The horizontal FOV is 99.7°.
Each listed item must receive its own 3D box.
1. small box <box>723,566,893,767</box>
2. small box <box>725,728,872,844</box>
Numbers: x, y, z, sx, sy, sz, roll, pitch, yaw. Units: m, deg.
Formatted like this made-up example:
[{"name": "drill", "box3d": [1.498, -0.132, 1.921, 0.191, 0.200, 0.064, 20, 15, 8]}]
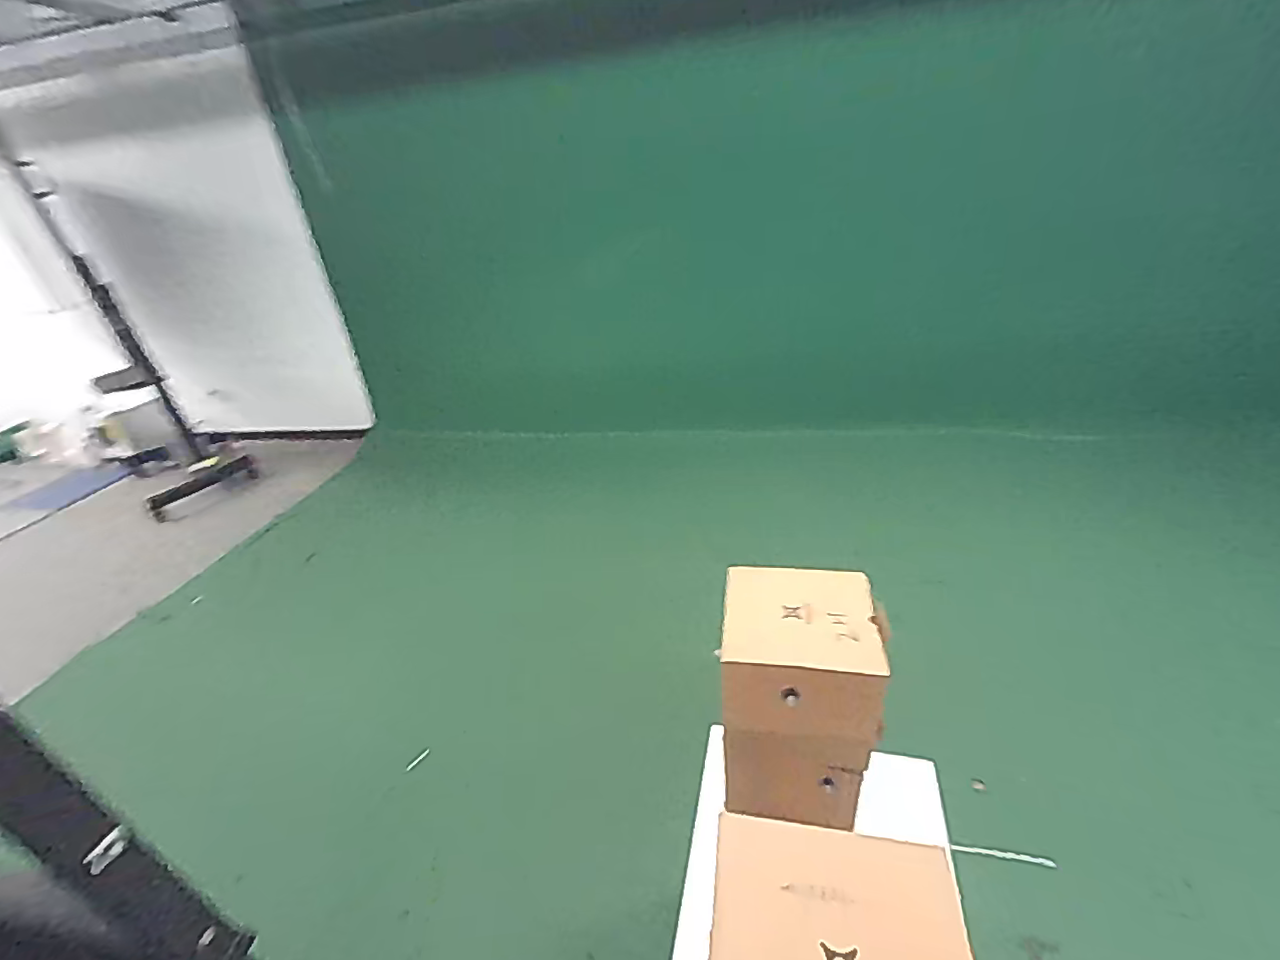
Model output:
[{"name": "small box", "box3d": [0.199, 0.227, 0.673, 0.179, 0.176, 0.168, 2, 31, 13]}, {"name": "small box", "box3d": [0.221, 0.368, 0.757, 0.179, 0.176, 0.168, 5, 31, 19]}]
